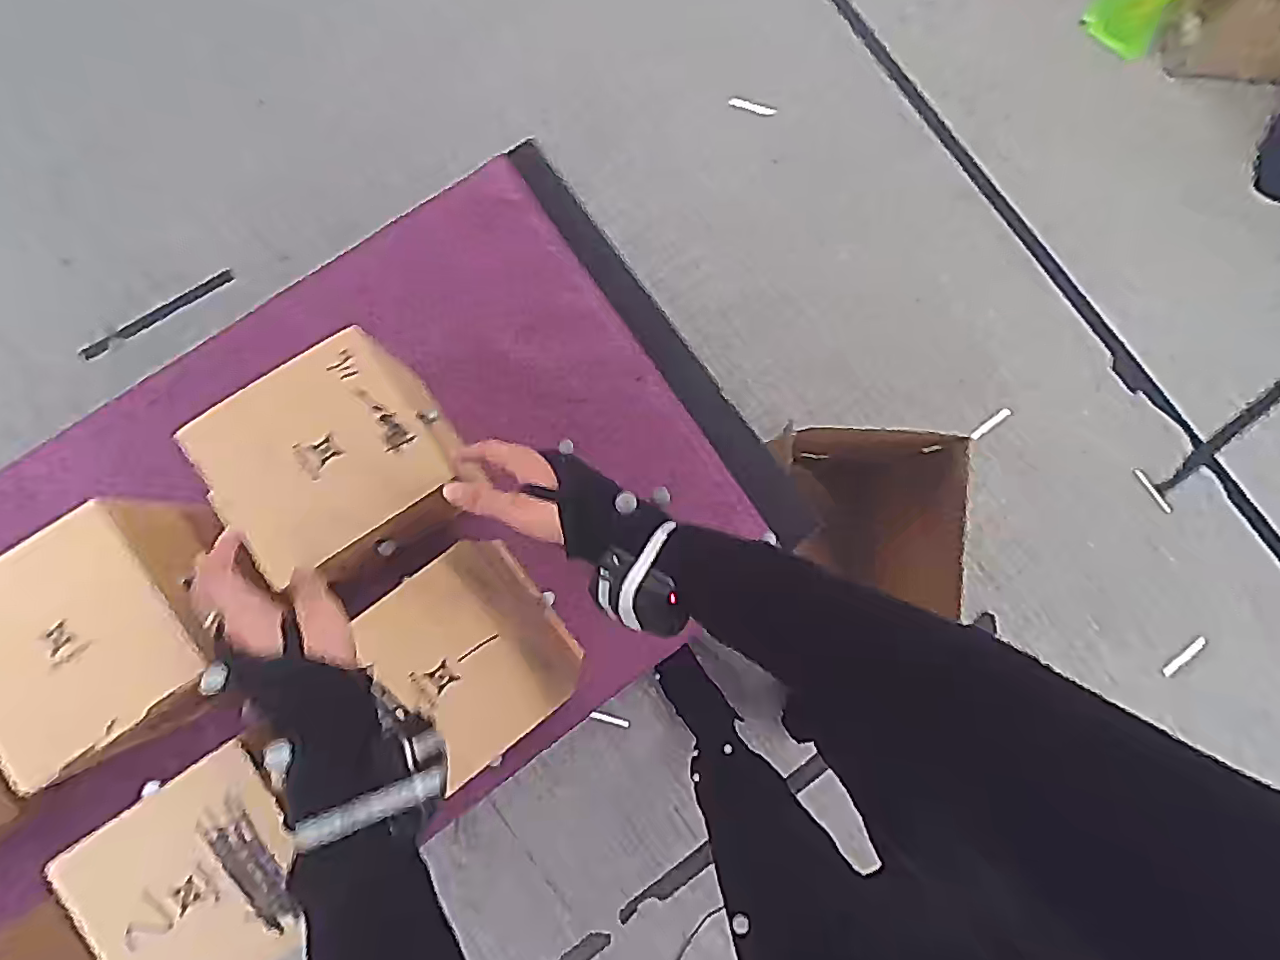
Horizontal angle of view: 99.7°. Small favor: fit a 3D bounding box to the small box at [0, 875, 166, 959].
[{"bbox_3d":[-0.569,0.507,0.465,0.179,0.176,0.168,-37,89,-7],"label":"small box"}]
